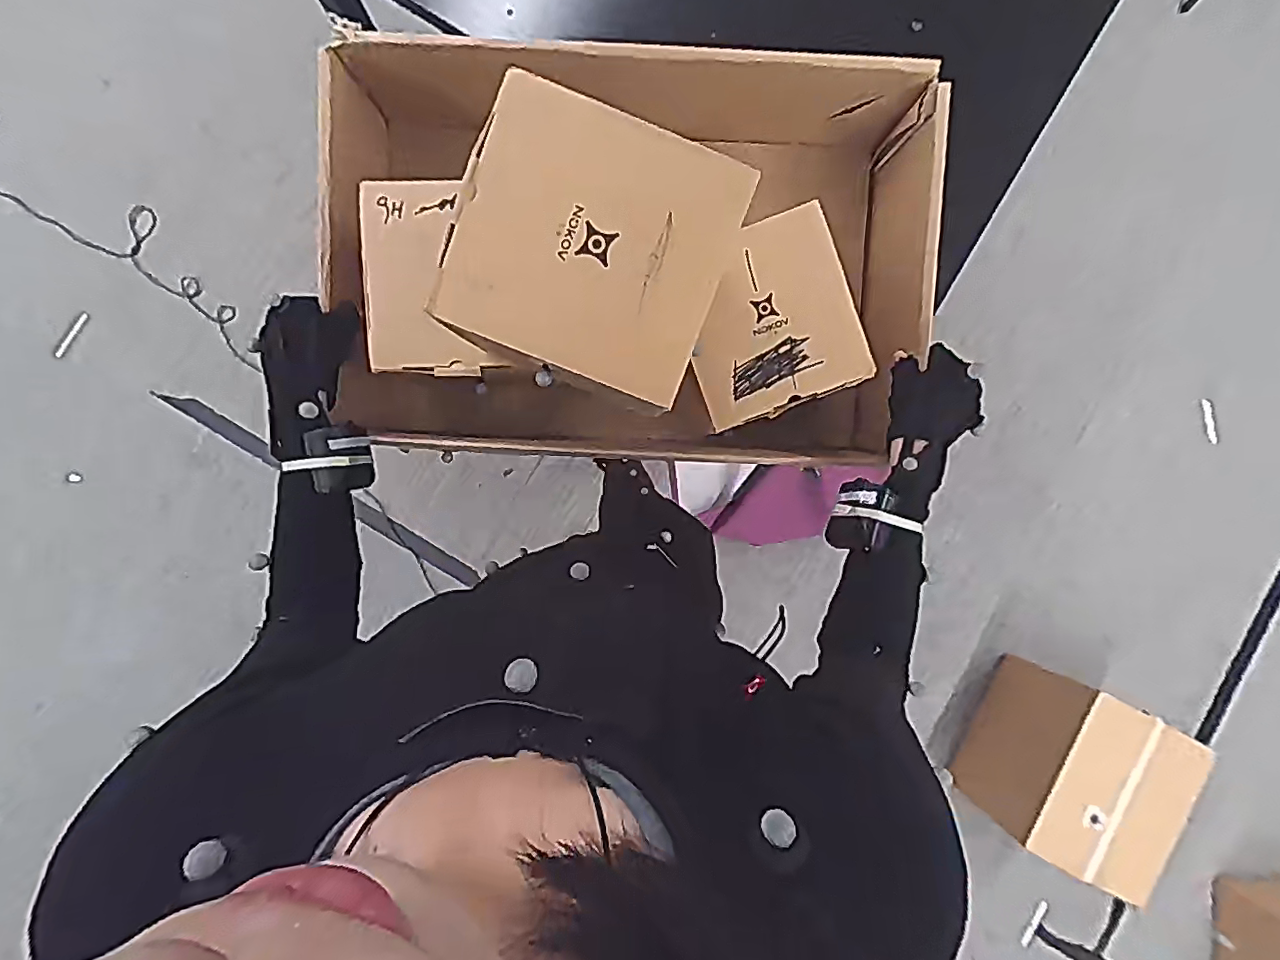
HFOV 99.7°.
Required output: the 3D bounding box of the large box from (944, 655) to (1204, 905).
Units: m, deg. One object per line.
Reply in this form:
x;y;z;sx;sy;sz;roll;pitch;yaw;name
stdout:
1.078;0.730;1.385;0.320;0.320;0.408;28;88;-1;large box
